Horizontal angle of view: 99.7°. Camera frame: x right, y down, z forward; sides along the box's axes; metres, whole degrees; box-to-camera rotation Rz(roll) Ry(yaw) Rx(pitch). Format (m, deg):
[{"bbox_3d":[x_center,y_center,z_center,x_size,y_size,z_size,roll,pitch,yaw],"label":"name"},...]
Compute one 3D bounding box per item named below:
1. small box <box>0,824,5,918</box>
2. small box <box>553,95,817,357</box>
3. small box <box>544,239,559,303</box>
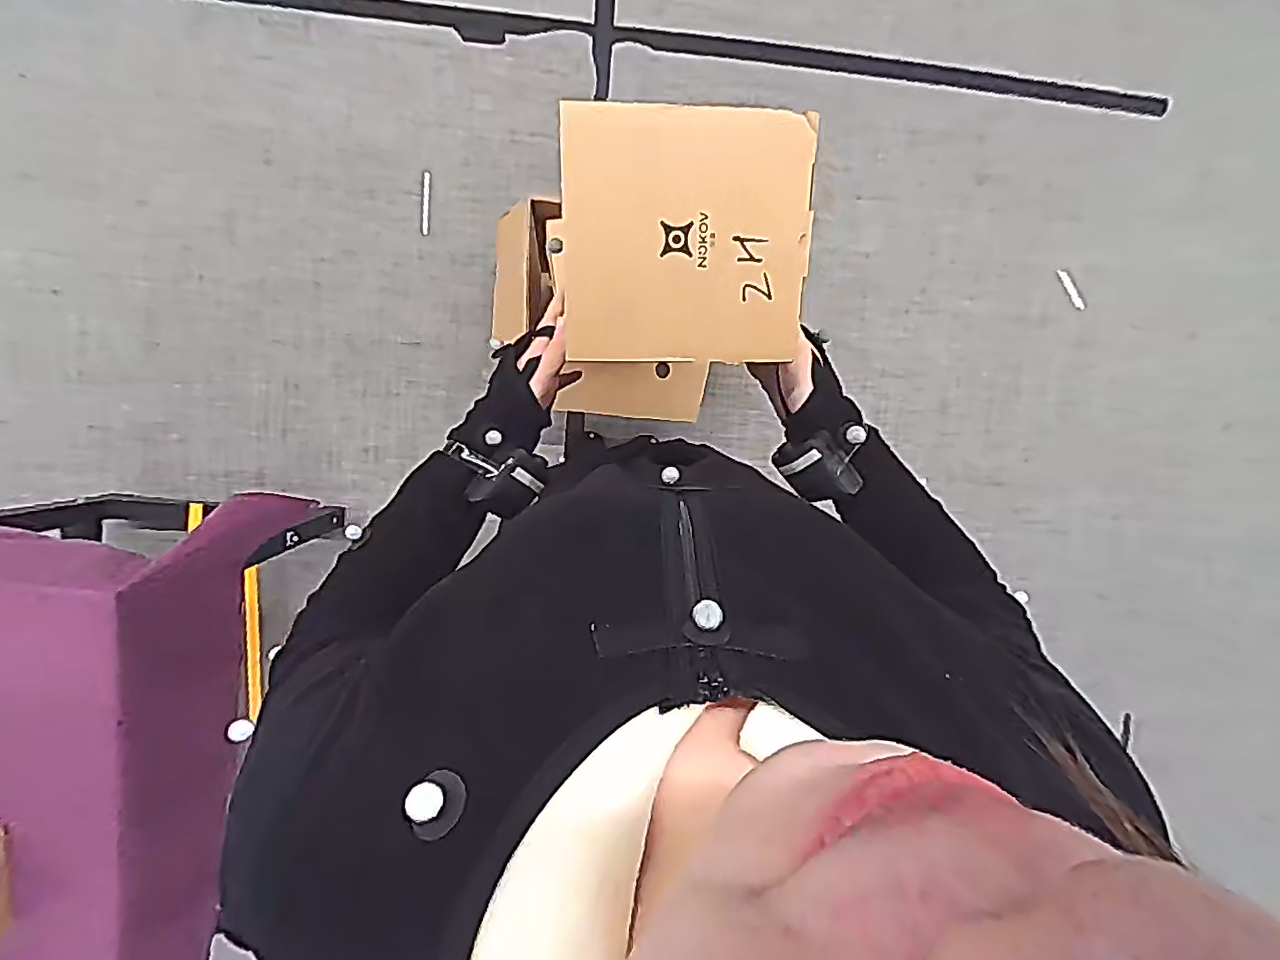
[{"bbox_3d":[-0.949,0.544,0.660,0.179,0.176,0.168,4,96,-5],"label":"small box"},{"bbox_3d":[0.024,-0.192,0.450,0.179,0.176,0.168,-1,107,-5],"label":"small box"},{"bbox_3d":[-0.099,-0.434,1.179,0.179,0.176,0.168,-18,102,-6],"label":"small box"}]
